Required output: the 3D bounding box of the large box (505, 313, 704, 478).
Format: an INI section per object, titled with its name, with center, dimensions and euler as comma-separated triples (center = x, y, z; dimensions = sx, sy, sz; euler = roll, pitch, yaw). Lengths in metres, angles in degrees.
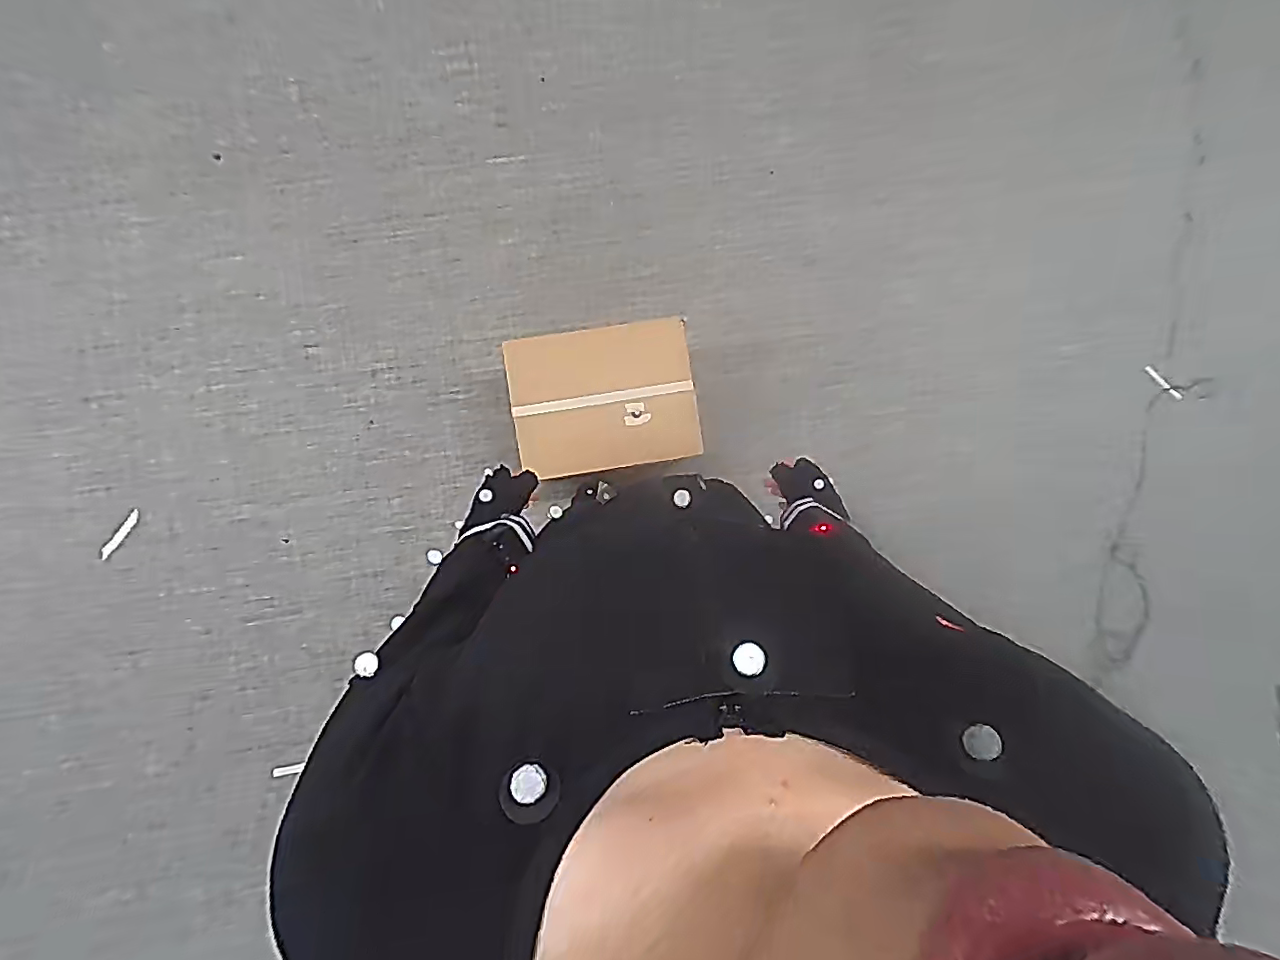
[large box]
center = -0.085, -0.188, 1.342
dimensions = 0.408, 0.320, 0.320
euler = -9, 91, -3
